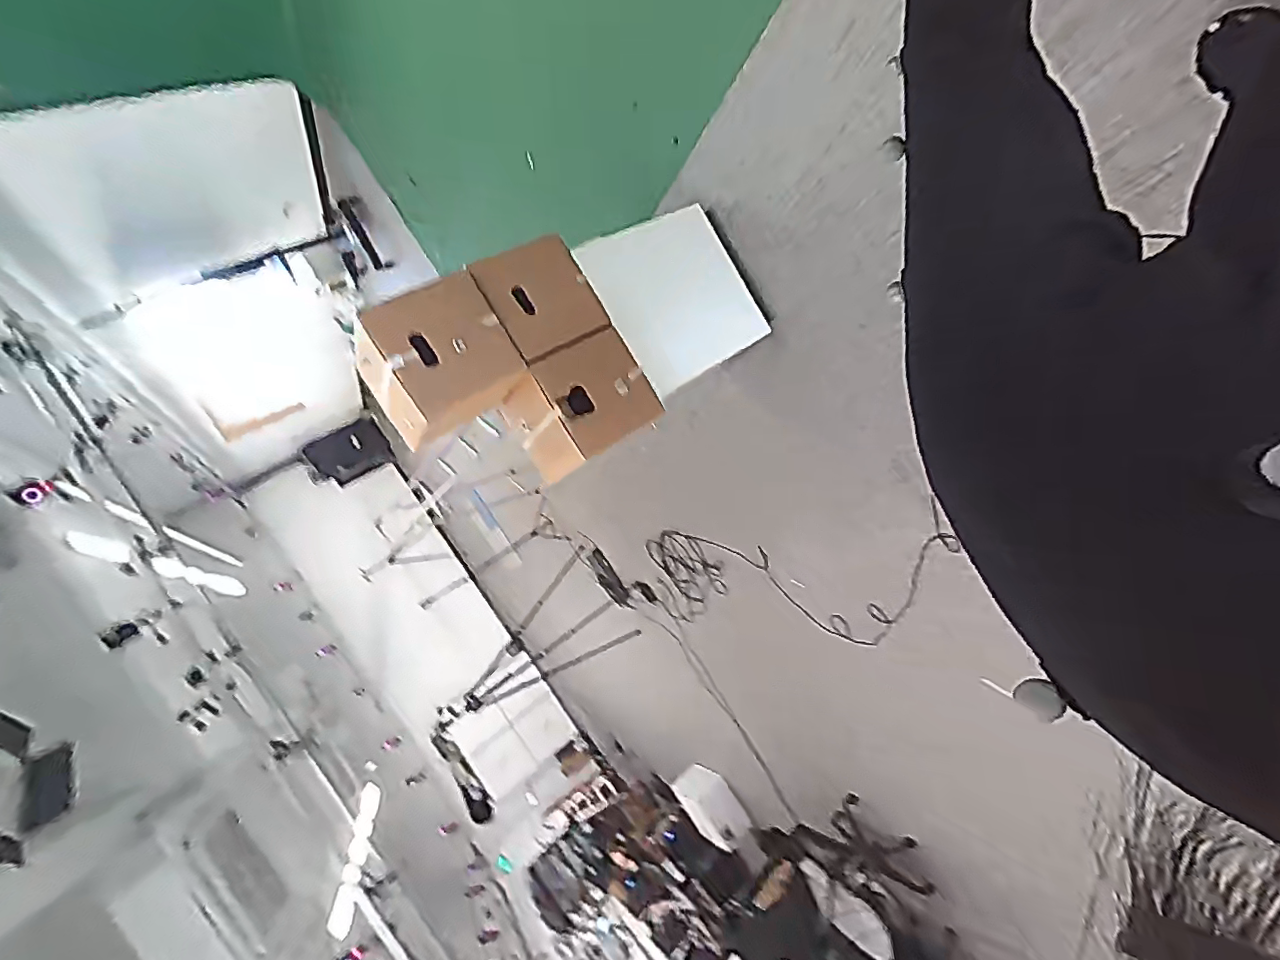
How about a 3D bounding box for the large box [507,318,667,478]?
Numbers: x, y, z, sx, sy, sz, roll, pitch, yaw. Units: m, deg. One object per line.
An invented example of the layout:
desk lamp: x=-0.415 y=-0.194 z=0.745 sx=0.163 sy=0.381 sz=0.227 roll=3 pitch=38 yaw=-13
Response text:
large box: x=-0.179 y=-0.248 z=1.722 sx=0.320 sy=0.320 sz=0.408 roll=59 pitch=154 yaw=-3
